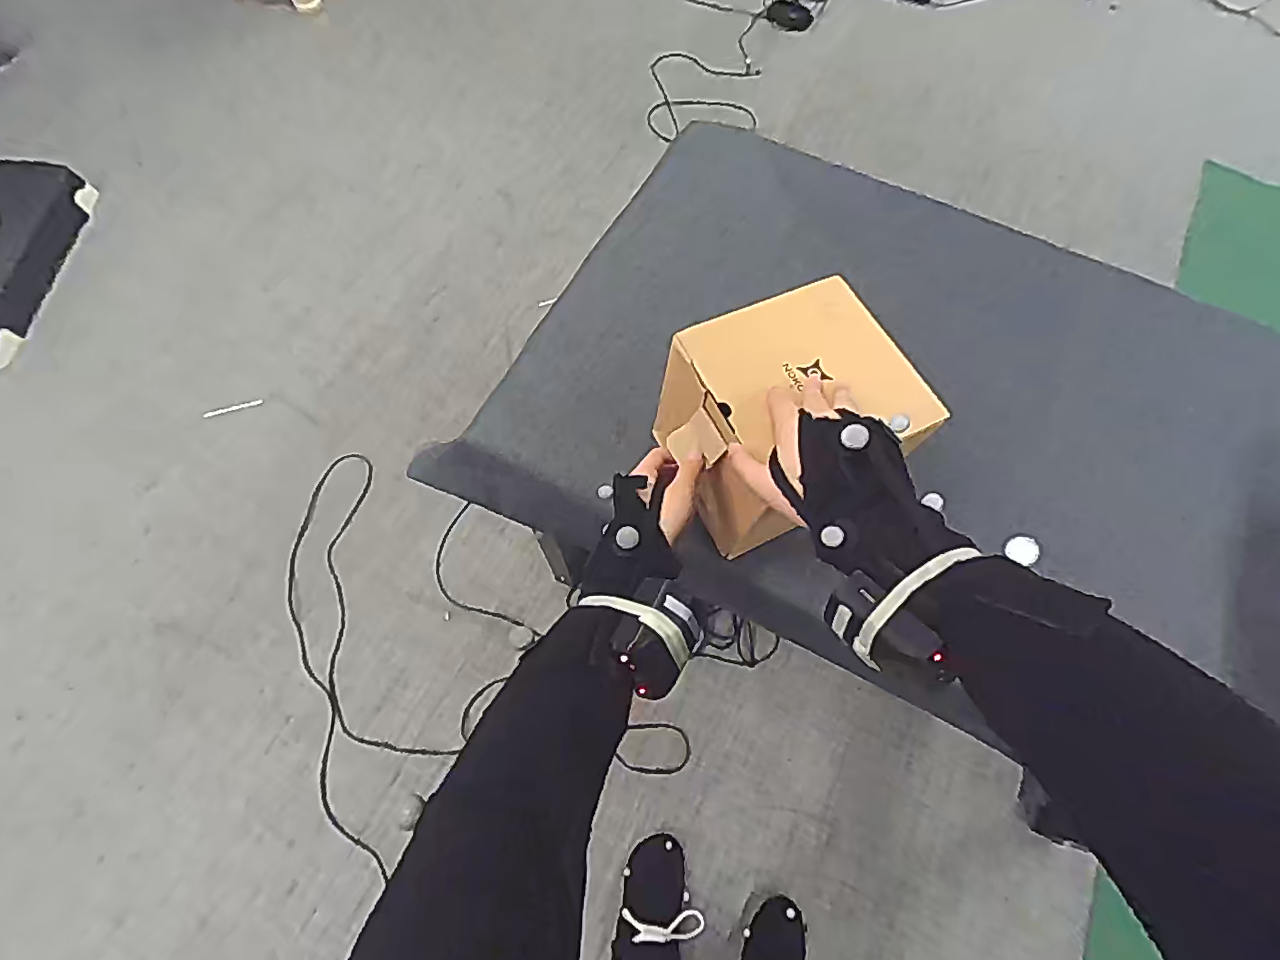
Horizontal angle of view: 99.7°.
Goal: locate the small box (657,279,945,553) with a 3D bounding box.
[{"bbox_3d":[0.132,-0.052,0.517,0.179,0.176,0.168,-23,70,-13],"label":"small box"}]
